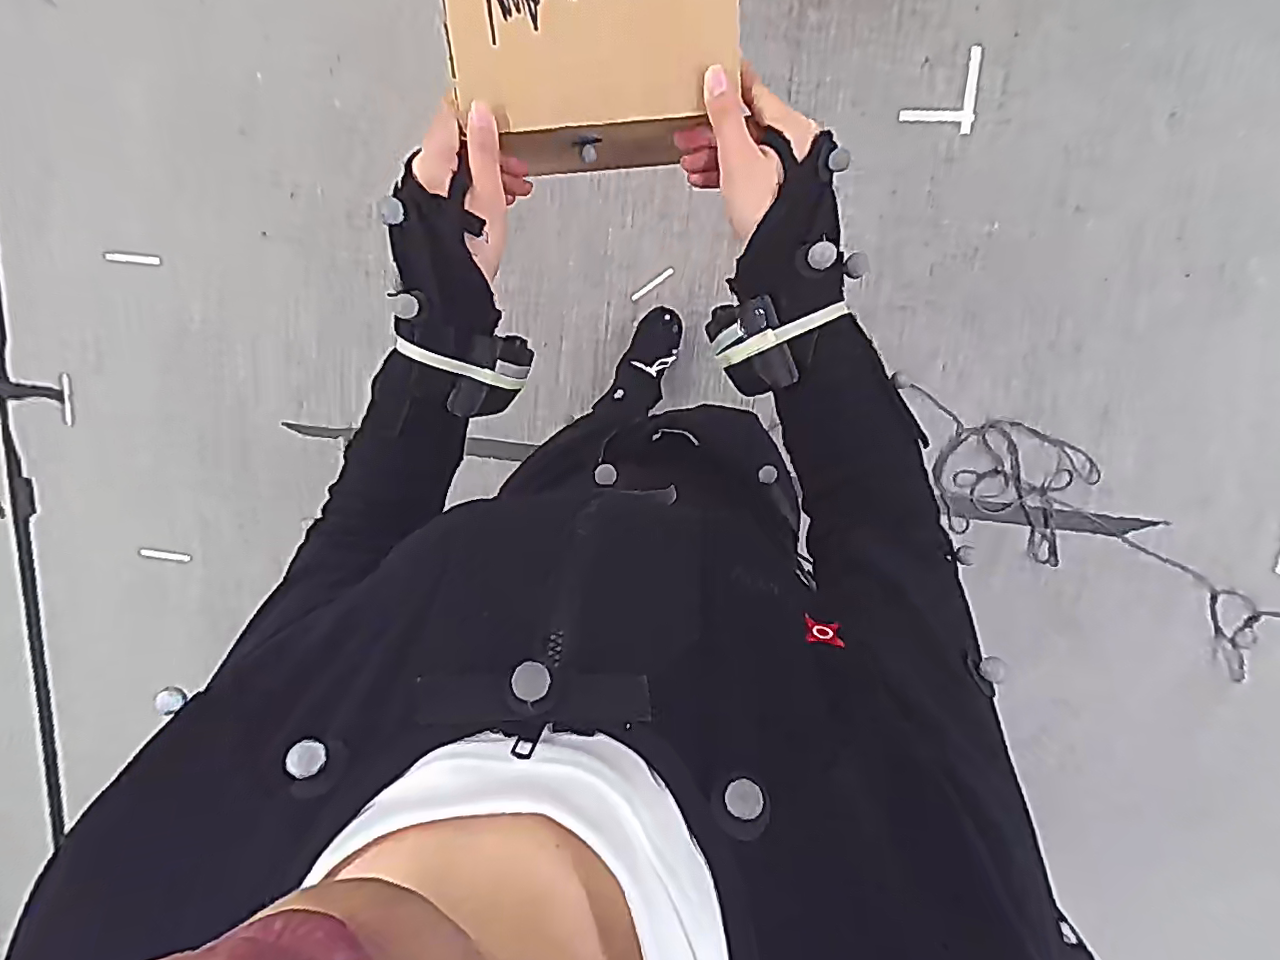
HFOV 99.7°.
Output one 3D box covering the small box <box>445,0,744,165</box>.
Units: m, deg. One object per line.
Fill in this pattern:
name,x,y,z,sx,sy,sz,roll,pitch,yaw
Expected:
small box,-0.027,-0.331,0.377,0.179,0.176,0.168,-3,111,2
